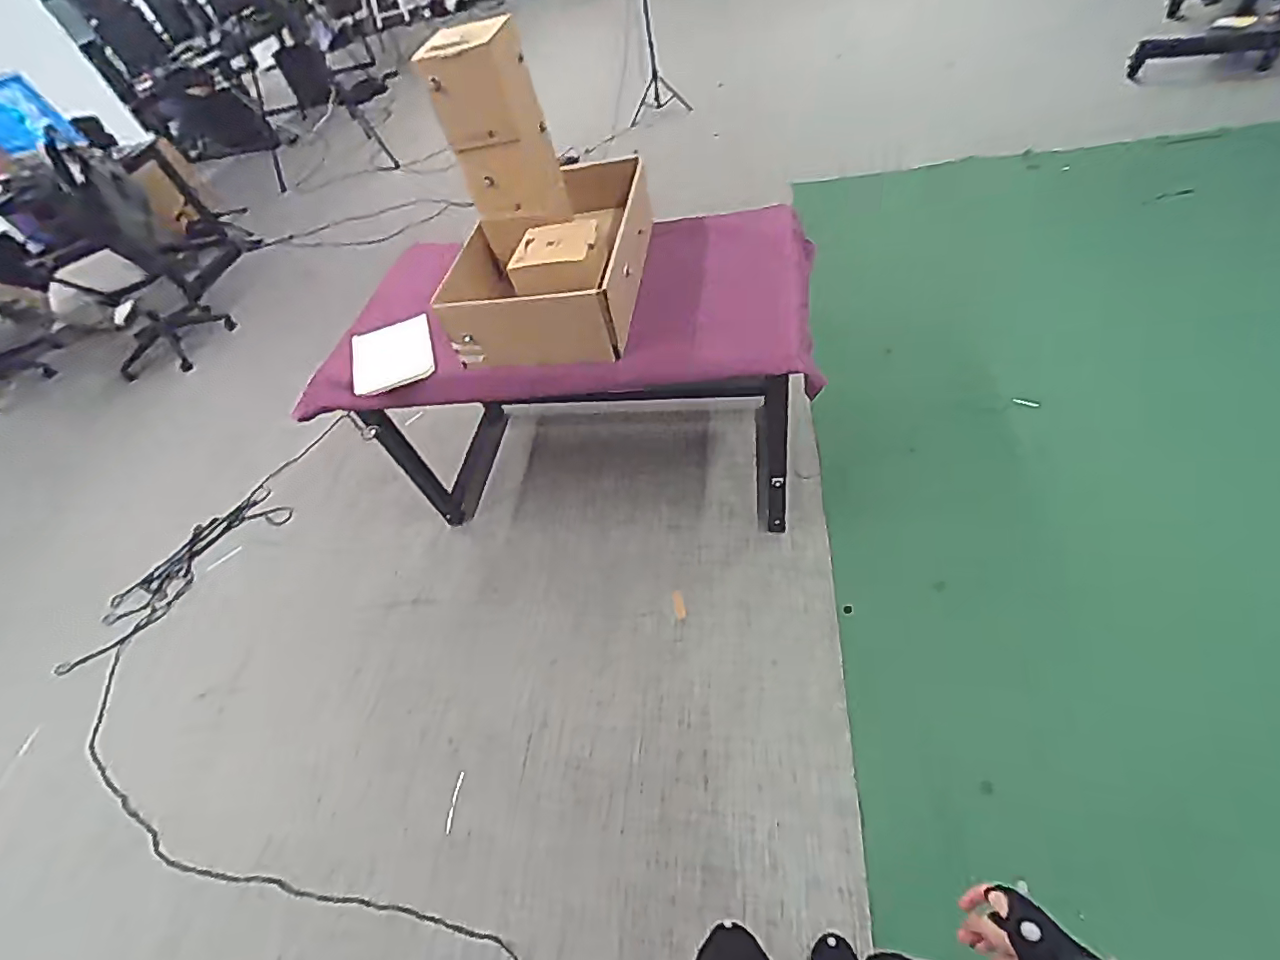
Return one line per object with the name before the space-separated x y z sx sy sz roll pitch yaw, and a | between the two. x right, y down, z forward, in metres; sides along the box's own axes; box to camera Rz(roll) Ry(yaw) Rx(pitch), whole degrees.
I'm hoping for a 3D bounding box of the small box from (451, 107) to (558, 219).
small box | -0.307 -0.735 1.270 0.168 0.176 0.179 1 54 15
